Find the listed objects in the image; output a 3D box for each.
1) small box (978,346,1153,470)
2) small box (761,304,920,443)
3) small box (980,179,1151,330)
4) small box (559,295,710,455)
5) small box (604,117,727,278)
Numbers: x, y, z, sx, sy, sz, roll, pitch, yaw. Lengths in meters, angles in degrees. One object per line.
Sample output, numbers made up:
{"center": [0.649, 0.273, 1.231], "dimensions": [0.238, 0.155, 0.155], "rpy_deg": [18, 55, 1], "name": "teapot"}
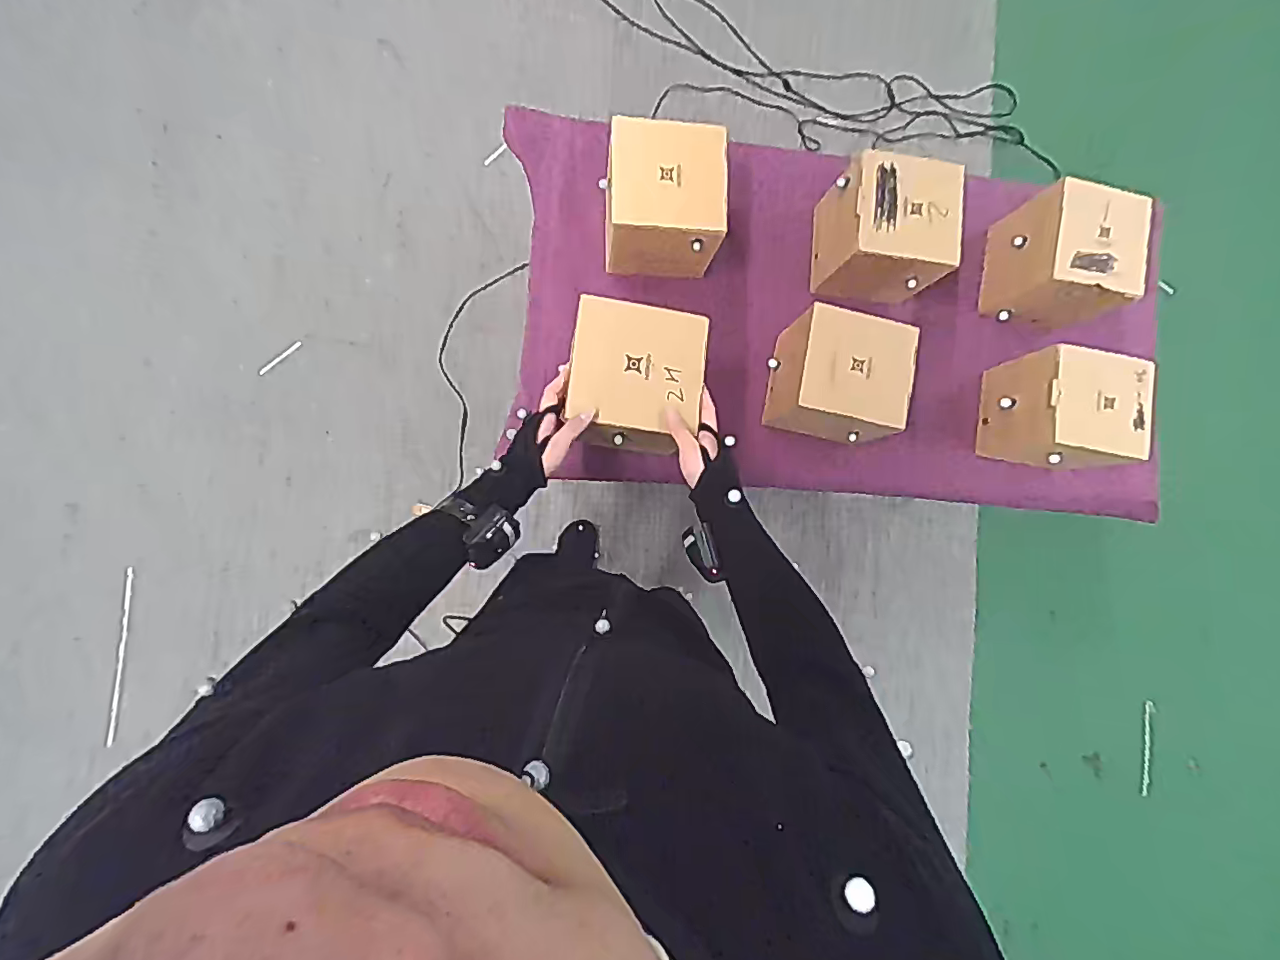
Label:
{"center": [0.726, -0.114, 0.939], "dimensions": [0.179, 0.176, 0.168], "rpy_deg": [9, 85, -6], "name": "small box"}
{"center": [0.321, -0.163, 0.892], "dimensions": [0.179, 0.176, 0.168], "rpy_deg": [12, 84, -5], "name": "small box"}
{"center": [0.740, -0.385, 0.957], "dimensions": [0.168, 0.176, 0.179], "rpy_deg": [10, 85, -6], "name": "small box"}
{"center": [-0.017, -0.134, 0.762], "dimensions": [0.179, 0.176, 0.168], "rpy_deg": [9, 84, -10], "name": "small box"}
{"center": [0.033, -0.442, 0.872], "dimensions": [0.179, 0.176, 0.168], "rpy_deg": [0, 87, -8], "name": "small box"}
